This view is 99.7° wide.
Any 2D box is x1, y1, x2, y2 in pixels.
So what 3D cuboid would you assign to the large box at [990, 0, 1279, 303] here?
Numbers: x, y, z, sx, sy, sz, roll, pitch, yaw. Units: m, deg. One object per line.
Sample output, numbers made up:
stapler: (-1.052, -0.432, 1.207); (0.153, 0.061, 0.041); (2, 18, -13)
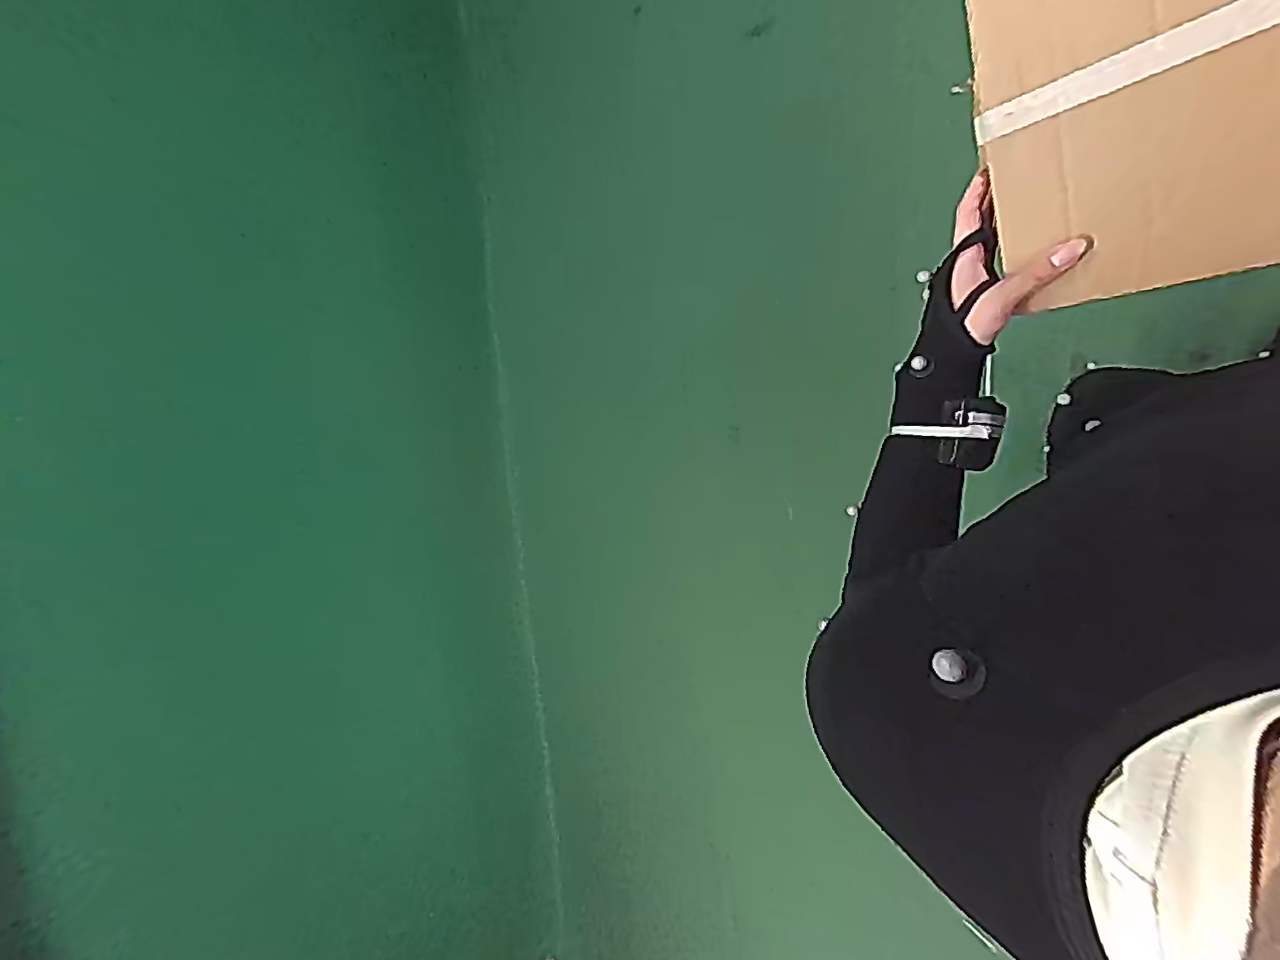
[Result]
large box: (0.526, -0.359, 0.391); (0.408, 0.320, 0.320); (-2, 114, 45)
